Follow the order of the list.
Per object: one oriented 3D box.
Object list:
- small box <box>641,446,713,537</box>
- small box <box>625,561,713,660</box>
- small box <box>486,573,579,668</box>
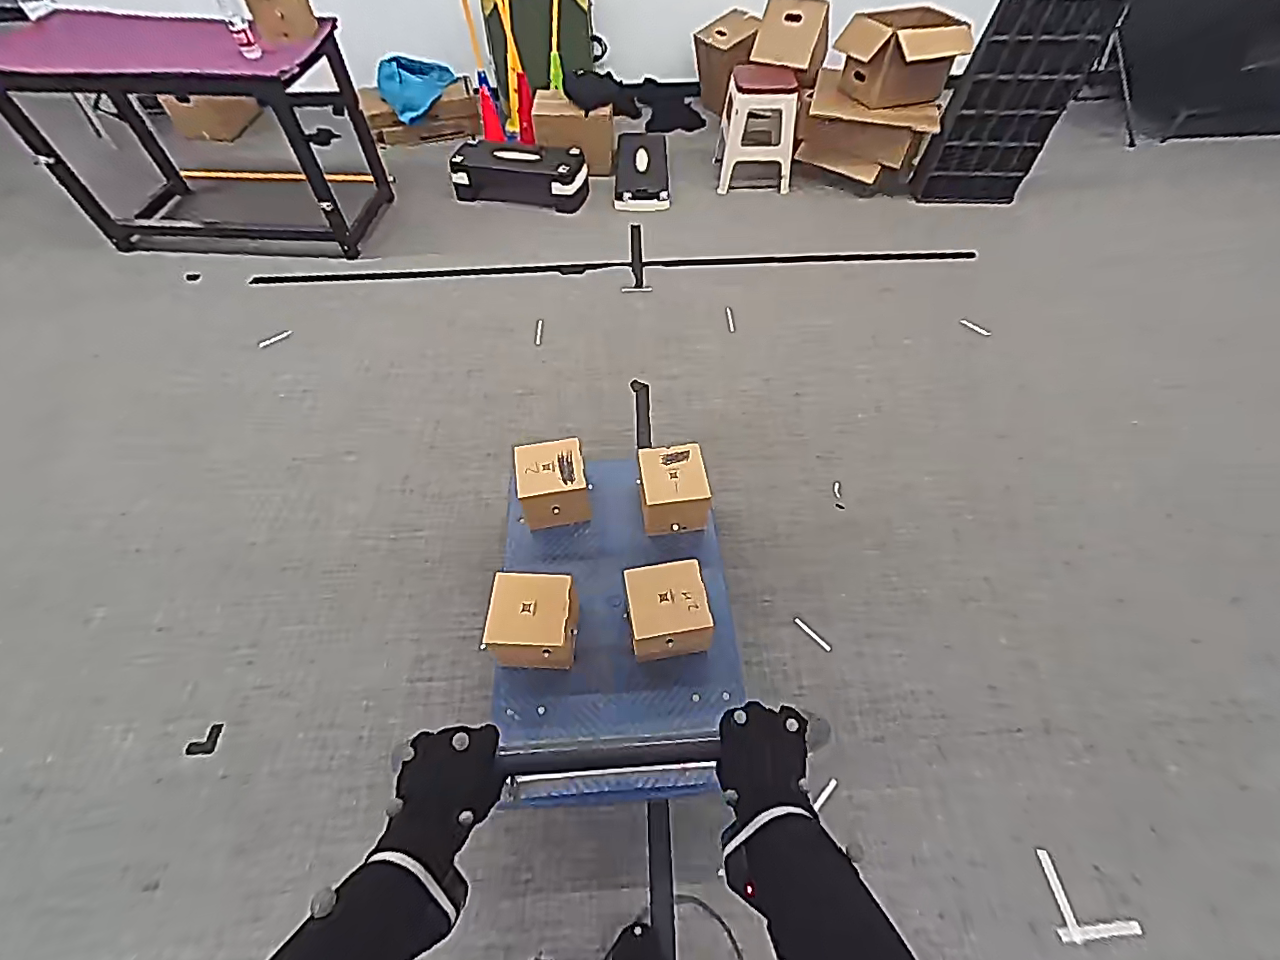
[{"bbox_3d":[0.092,0.033,1.461,0.168,0.176,0.179,-6,57,-4],"label":"small box"},{"bbox_3d":[0.065,0.311,1.270,0.179,0.176,0.168,-8,56,-5],"label":"small box"},{"bbox_3d":[-0.241,0.331,1.259,0.179,0.176,0.168,3,55,0],"label":"small box"}]
